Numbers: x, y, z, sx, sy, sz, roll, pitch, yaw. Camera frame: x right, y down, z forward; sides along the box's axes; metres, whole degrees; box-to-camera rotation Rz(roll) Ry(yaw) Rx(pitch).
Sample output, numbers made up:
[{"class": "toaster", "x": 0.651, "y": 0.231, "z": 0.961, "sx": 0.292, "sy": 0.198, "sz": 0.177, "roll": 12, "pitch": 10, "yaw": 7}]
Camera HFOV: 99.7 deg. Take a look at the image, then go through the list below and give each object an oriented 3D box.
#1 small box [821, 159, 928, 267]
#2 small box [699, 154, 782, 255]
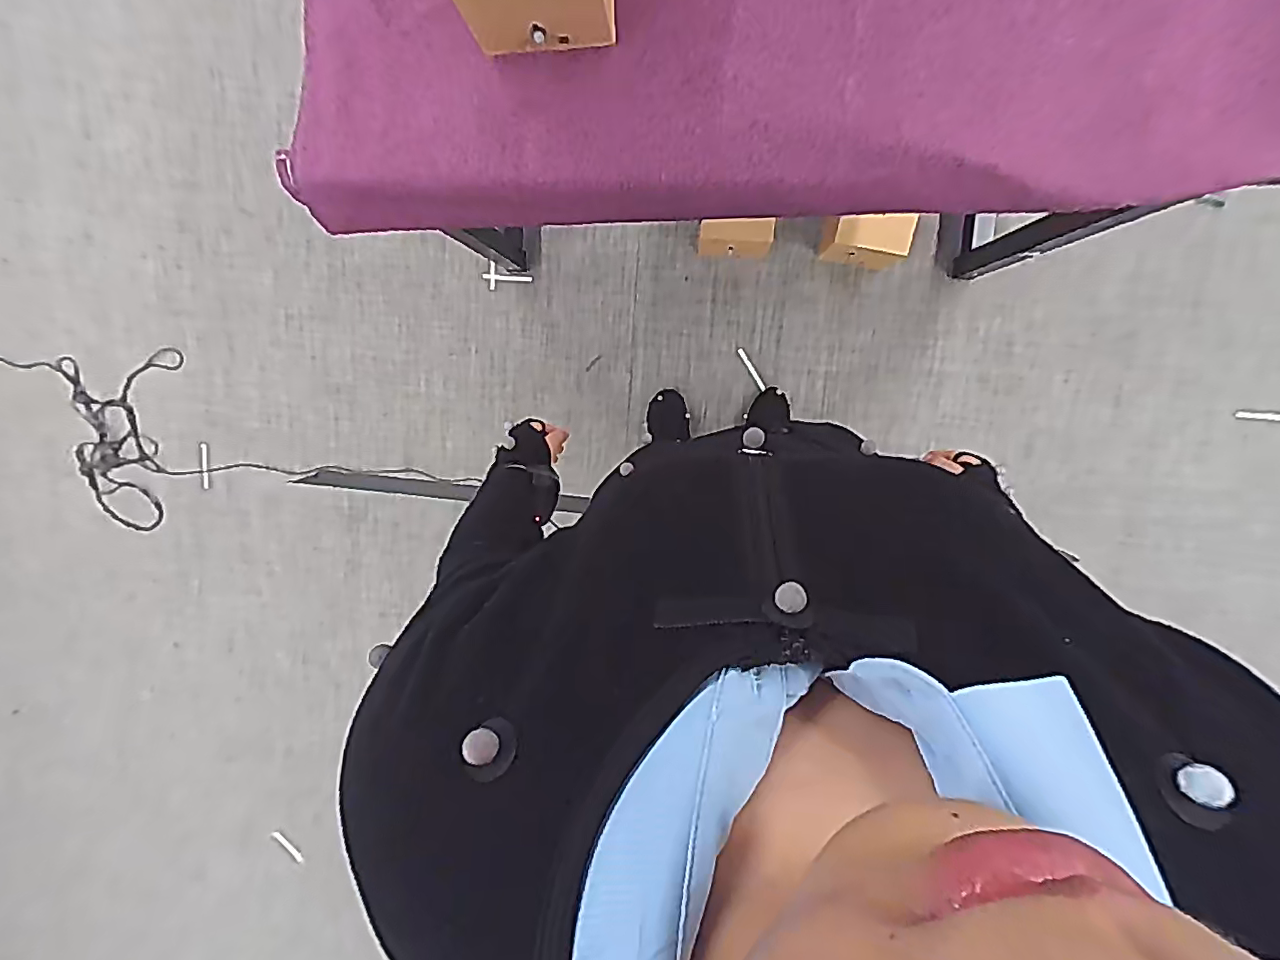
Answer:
[{"class": "small box", "x": 0.538, "y": -0.615, "z": 1.270, "sx": 0.168, "sy": 0.176, "sz": 0.179, "roll": 13, "pitch": 101, "yaw": 3}, {"class": "small box", "x": 0.232, "y": -0.647, "z": 1.289, "sx": 0.168, "sy": 0.176, "sz": 0.179, "roll": 6, "pitch": 100, "yaw": 3}]
